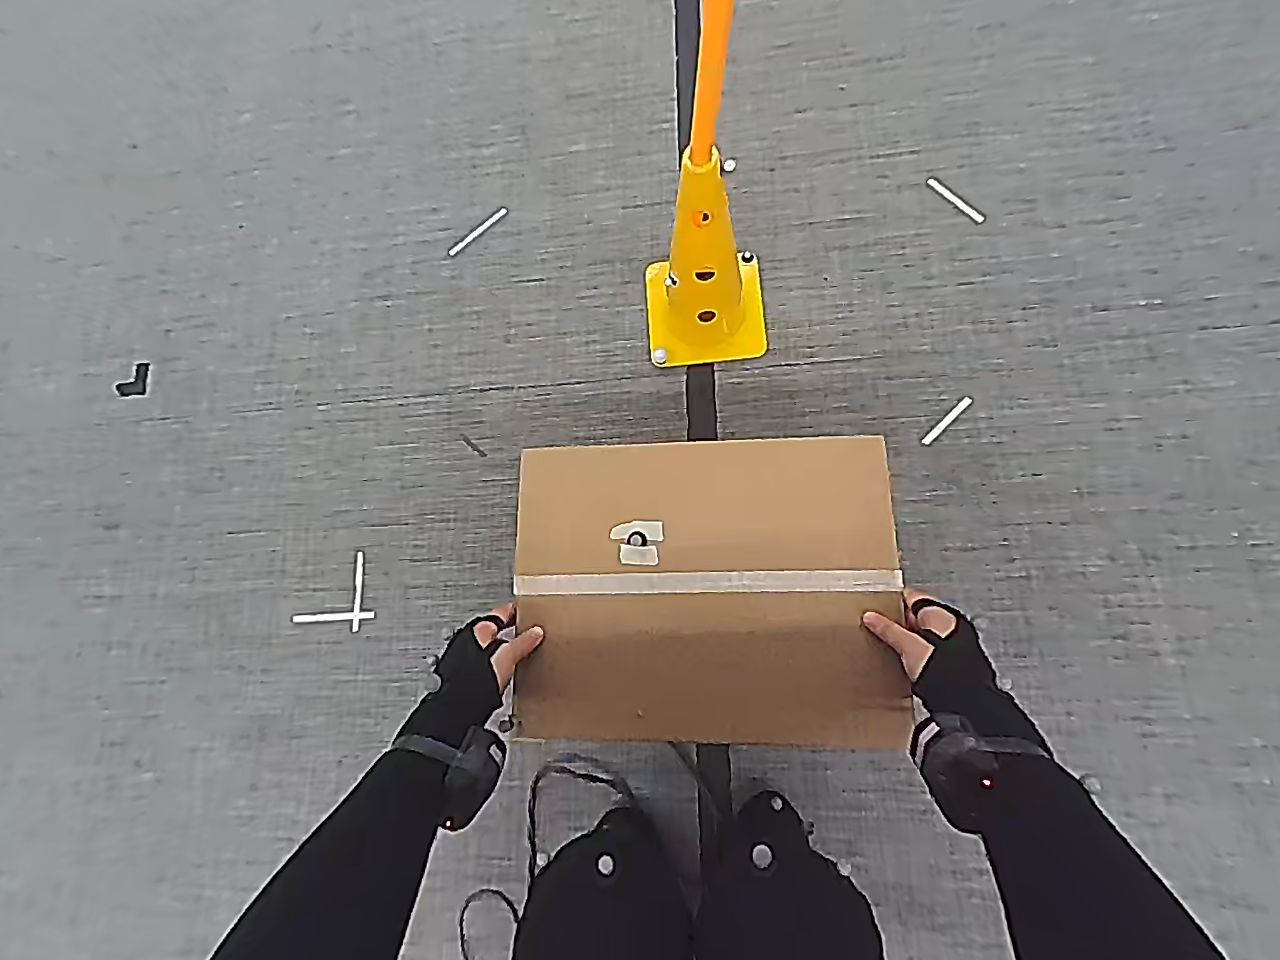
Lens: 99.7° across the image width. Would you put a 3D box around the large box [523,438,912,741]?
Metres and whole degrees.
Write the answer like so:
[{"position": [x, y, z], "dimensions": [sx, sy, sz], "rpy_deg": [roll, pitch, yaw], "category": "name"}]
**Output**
[{"position": [0.090, 0.147, 0.729], "dimensions": [0.408, 0.320, 0.320], "rpy_deg": [-3, 76, 8], "category": "large box"}]
